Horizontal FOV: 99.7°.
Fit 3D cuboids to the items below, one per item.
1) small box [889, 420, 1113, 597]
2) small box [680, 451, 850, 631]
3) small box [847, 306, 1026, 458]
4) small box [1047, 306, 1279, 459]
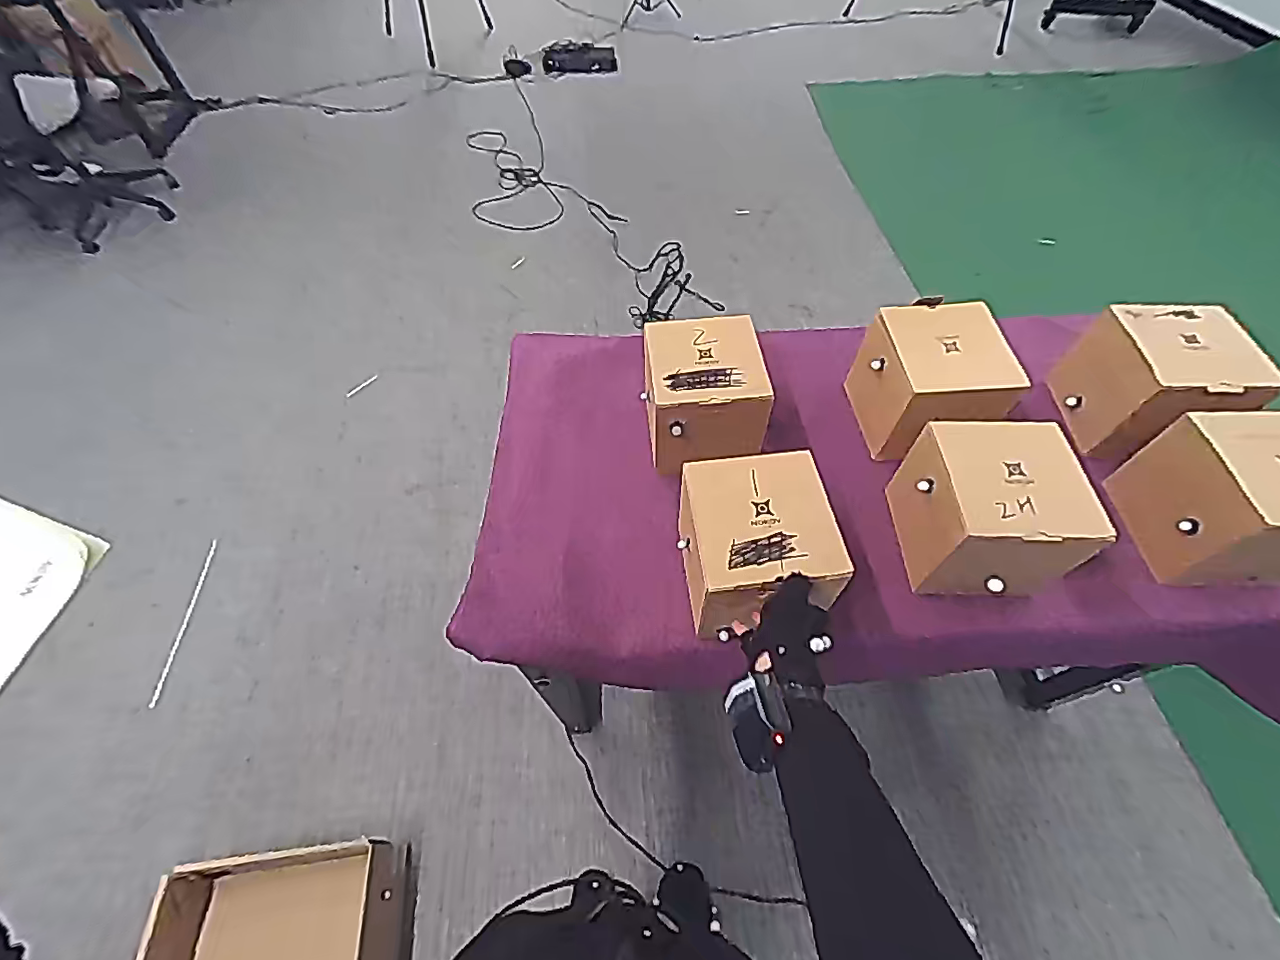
[{"bbox_3d":[0.457,0.040,0.724,0.168,0.176,0.179,1,56,3],"label":"small box"},{"bbox_3d":[0.146,0.087,0.702,0.168,0.176,0.179,-6,55,-2],"label":"small box"},{"bbox_3d":[0.450,-0.147,0.855,0.168,0.176,0.179,-4,56,-1],"label":"small box"},{"bbox_3d":[0.790,-0.147,0.842,0.168,0.176,0.179,2,57,3],"label":"small box"}]
